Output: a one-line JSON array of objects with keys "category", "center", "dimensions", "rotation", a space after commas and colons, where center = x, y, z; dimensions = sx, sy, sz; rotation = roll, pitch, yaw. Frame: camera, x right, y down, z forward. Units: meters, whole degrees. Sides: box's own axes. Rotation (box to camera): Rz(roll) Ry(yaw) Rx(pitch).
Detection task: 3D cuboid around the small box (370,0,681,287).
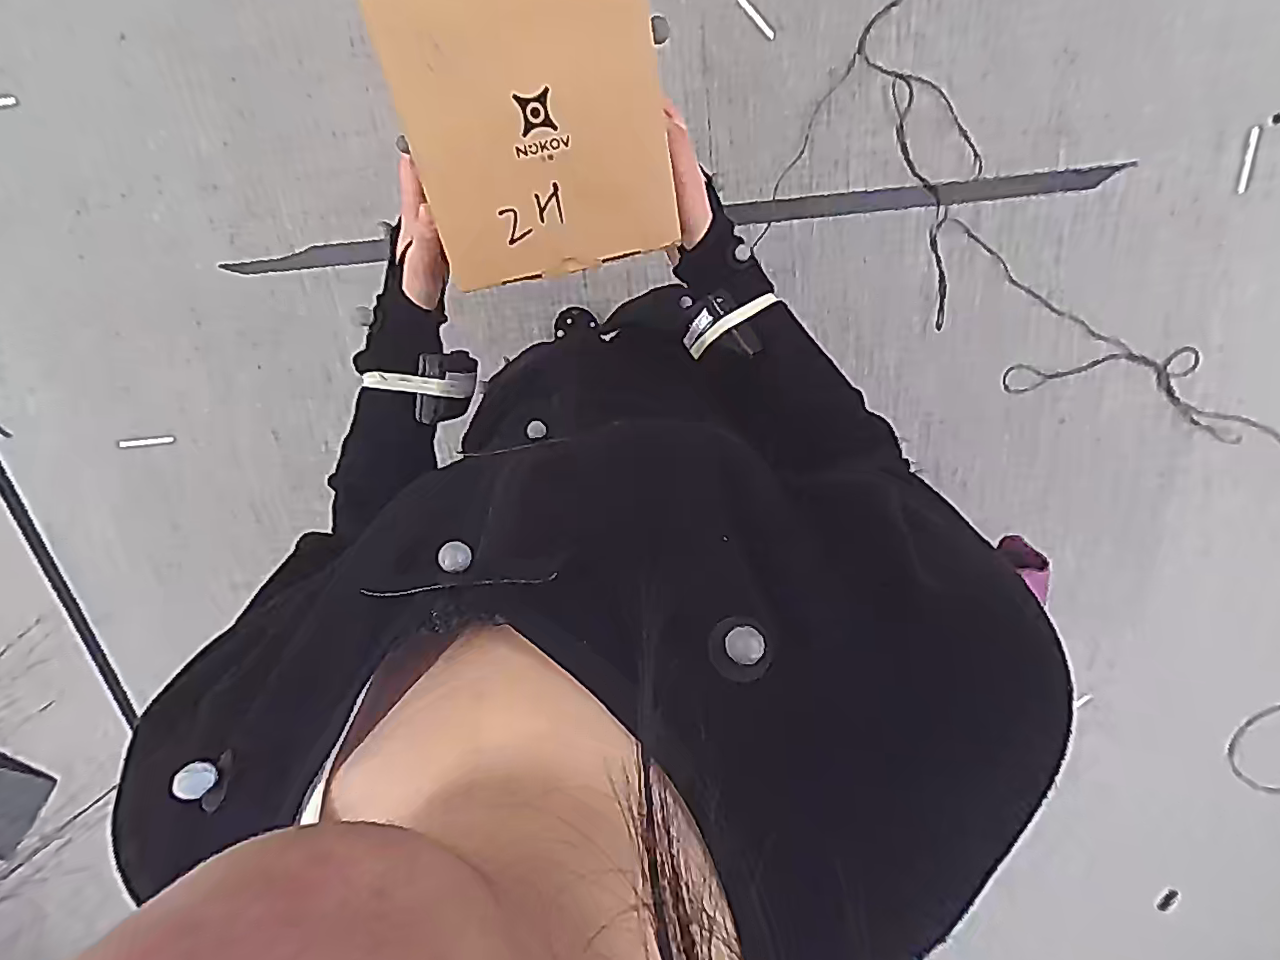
[{"category": "small box", "center": [-0.074, -0.264, 0.417], "dimensions": [0.168, 0.176, 0.179], "rotation": [-12, 119, -1]}]
